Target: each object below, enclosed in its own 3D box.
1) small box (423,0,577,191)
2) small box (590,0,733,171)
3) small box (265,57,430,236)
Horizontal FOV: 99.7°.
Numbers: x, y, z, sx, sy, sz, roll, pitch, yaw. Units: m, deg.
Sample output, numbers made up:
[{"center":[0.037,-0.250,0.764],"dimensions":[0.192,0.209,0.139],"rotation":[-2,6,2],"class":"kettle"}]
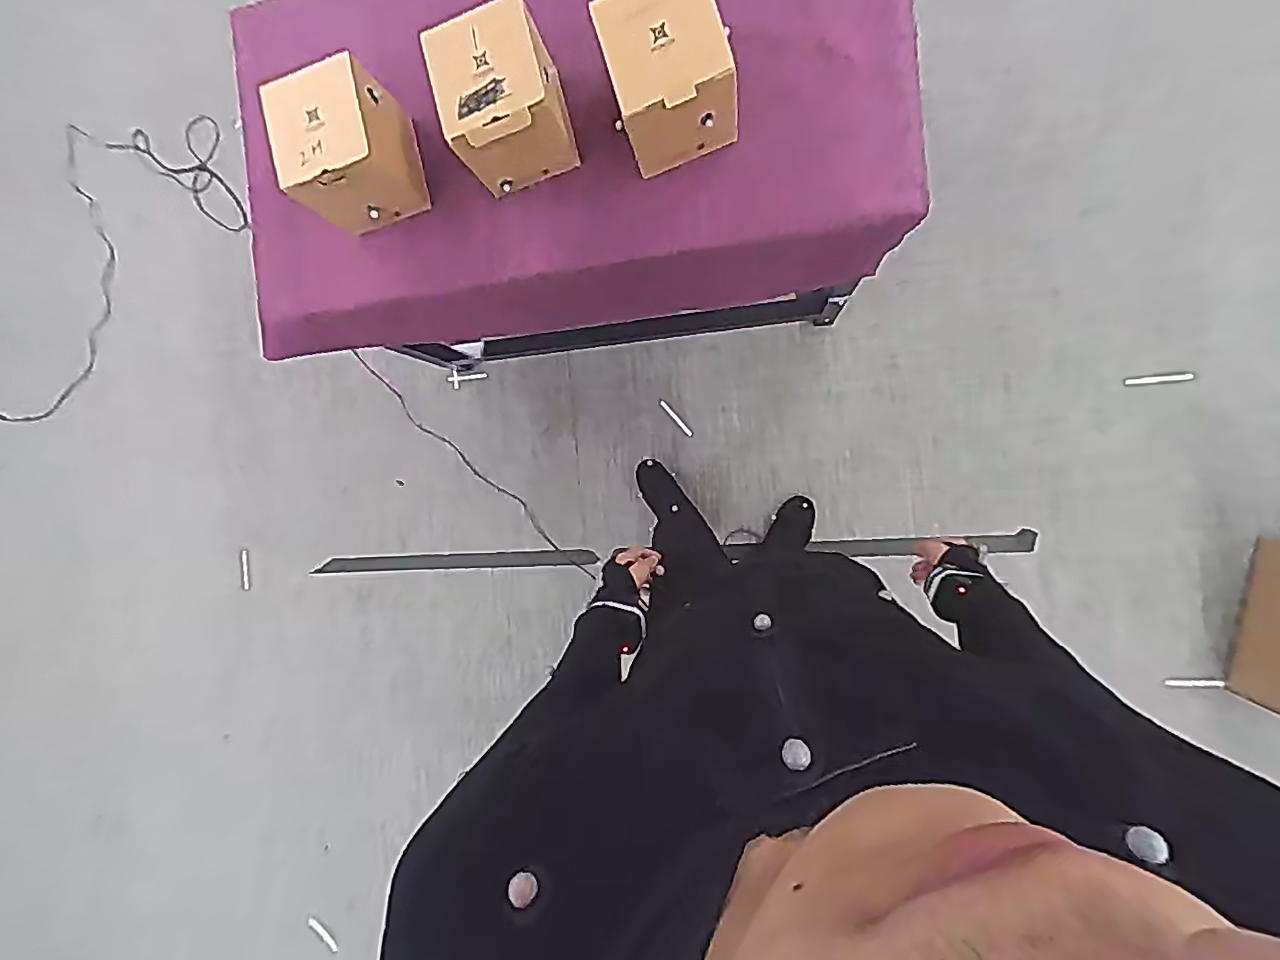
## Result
[{"center":[-0.215,-0.601,0.875],"dimensions":[0.168,0.176,0.179],"rotation":[-15,87,10],"class":"small box"},{"center":[0.043,-0.611,0.829],"dimensions":[0.168,0.176,0.179],"rotation":[-17,87,10],"class":"small box"},{"center":[-0.490,-0.556,0.926],"dimensions":[0.168,0.176,0.179],"rotation":[-13,89,11],"class":"small box"}]
